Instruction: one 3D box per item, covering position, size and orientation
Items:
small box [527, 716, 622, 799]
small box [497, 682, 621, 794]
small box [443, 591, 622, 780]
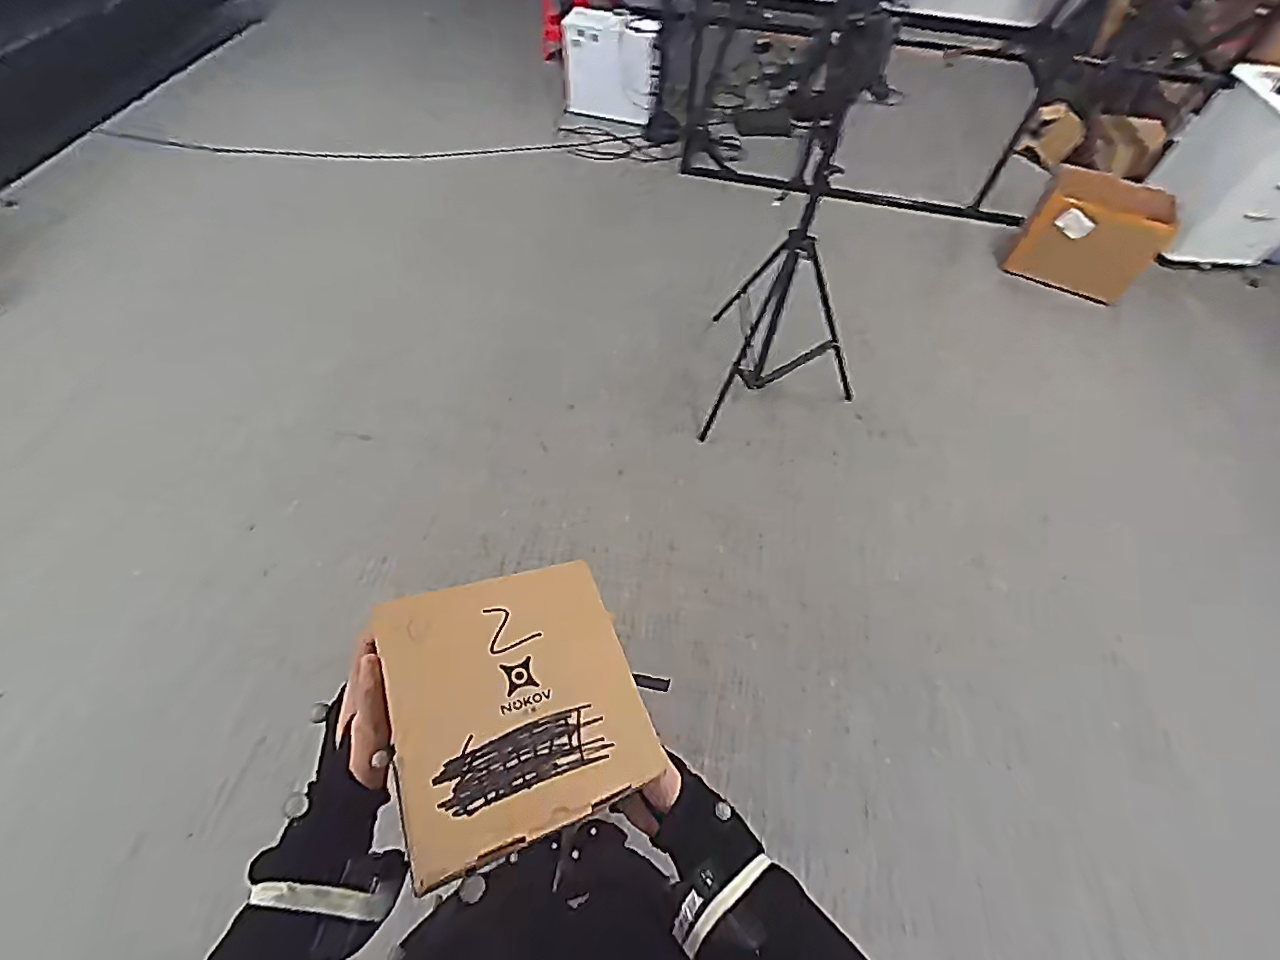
[{"bbox_3d":[-0.145,0.619,1.241,0.179,0.176,0.168,11,58,5],"label":"small box"},{"bbox_3d":[-0.132,0.444,0.965,0.168,0.176,0.179,13,59,6],"label":"small box"},{"bbox_3d":[-0.121,0.266,0.691,0.168,0.176,0.179,10,59,6],"label":"small box"}]
